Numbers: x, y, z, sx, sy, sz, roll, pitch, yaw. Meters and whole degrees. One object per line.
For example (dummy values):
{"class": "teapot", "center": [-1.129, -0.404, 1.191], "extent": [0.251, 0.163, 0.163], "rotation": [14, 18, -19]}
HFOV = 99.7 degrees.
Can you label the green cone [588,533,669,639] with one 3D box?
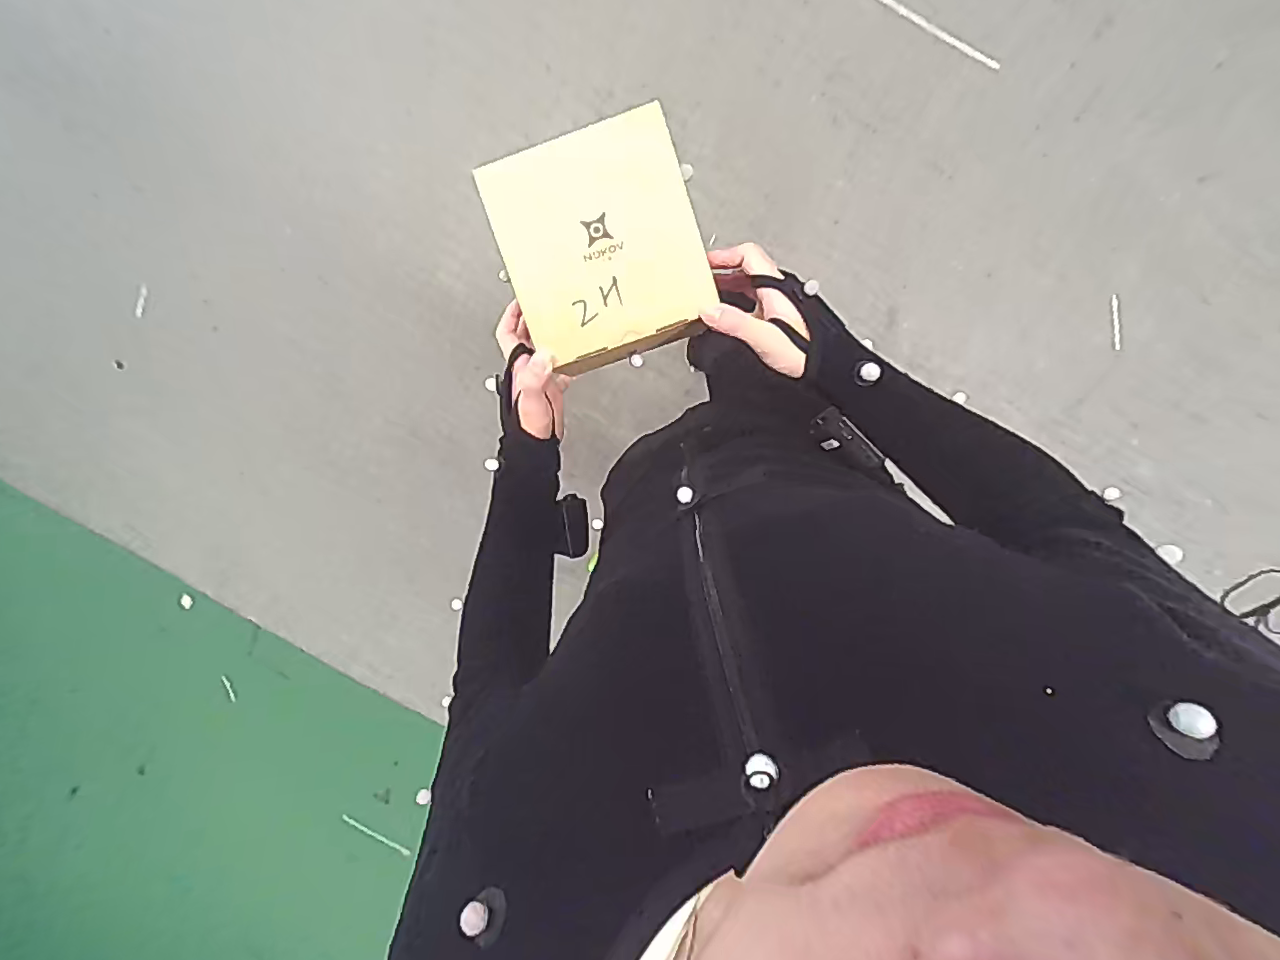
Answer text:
{"class": "green cone", "center": [-0.054, 0.330, 1.515], "extent": [0.202, 0.368, 0.200], "rotation": [31, 107, -3]}
